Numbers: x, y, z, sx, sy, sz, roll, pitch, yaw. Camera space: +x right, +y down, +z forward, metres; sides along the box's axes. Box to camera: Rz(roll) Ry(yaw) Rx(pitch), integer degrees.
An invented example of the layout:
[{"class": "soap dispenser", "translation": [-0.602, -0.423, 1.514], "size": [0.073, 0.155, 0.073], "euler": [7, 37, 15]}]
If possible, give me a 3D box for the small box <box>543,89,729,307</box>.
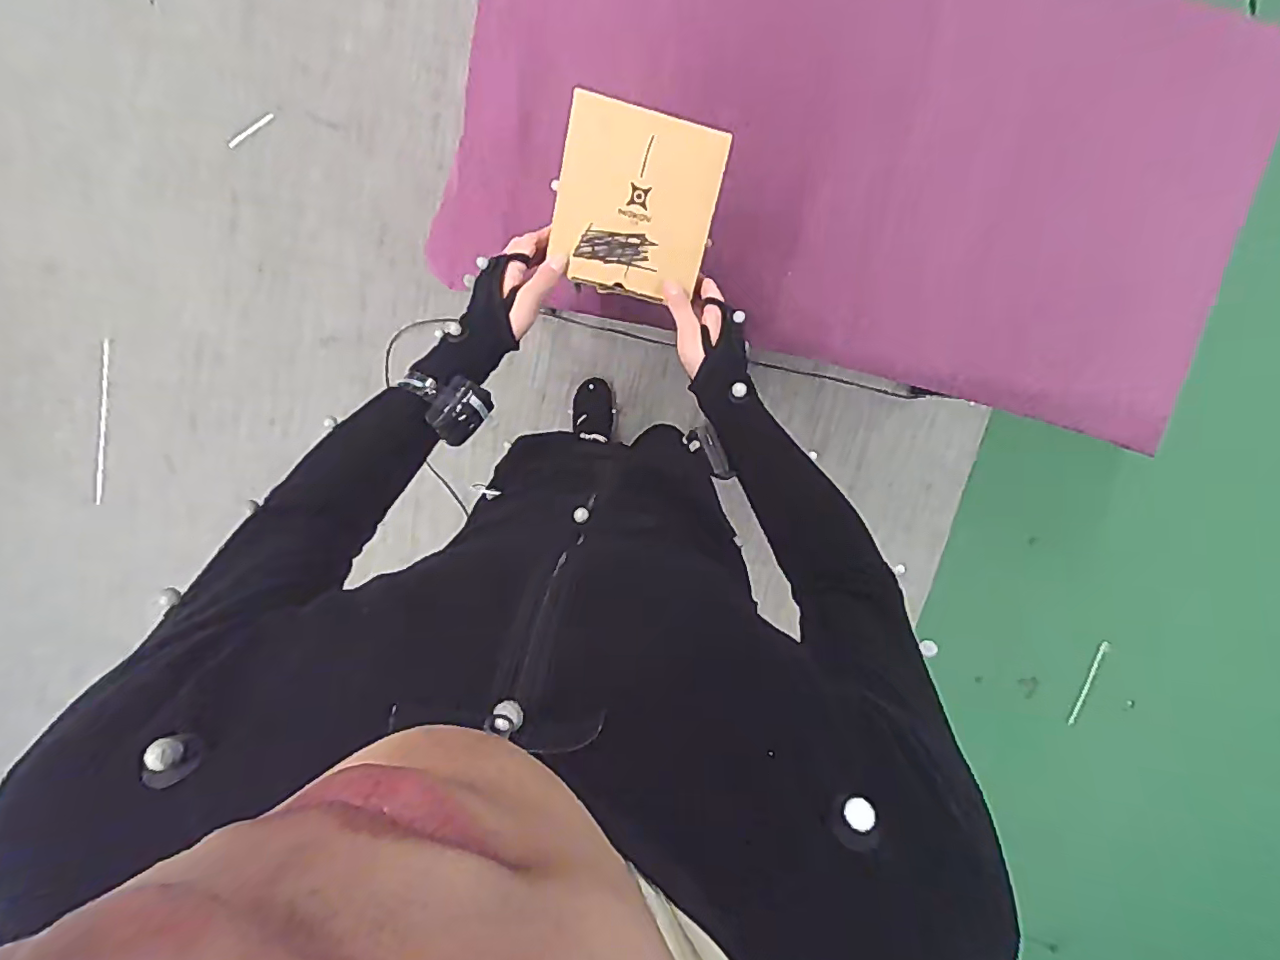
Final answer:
[{"class": "small box", "translation": [-0.011, -0.313, 0.641], "size": [0.168, 0.176, 0.179], "euler": [11, 106, -8]}]
